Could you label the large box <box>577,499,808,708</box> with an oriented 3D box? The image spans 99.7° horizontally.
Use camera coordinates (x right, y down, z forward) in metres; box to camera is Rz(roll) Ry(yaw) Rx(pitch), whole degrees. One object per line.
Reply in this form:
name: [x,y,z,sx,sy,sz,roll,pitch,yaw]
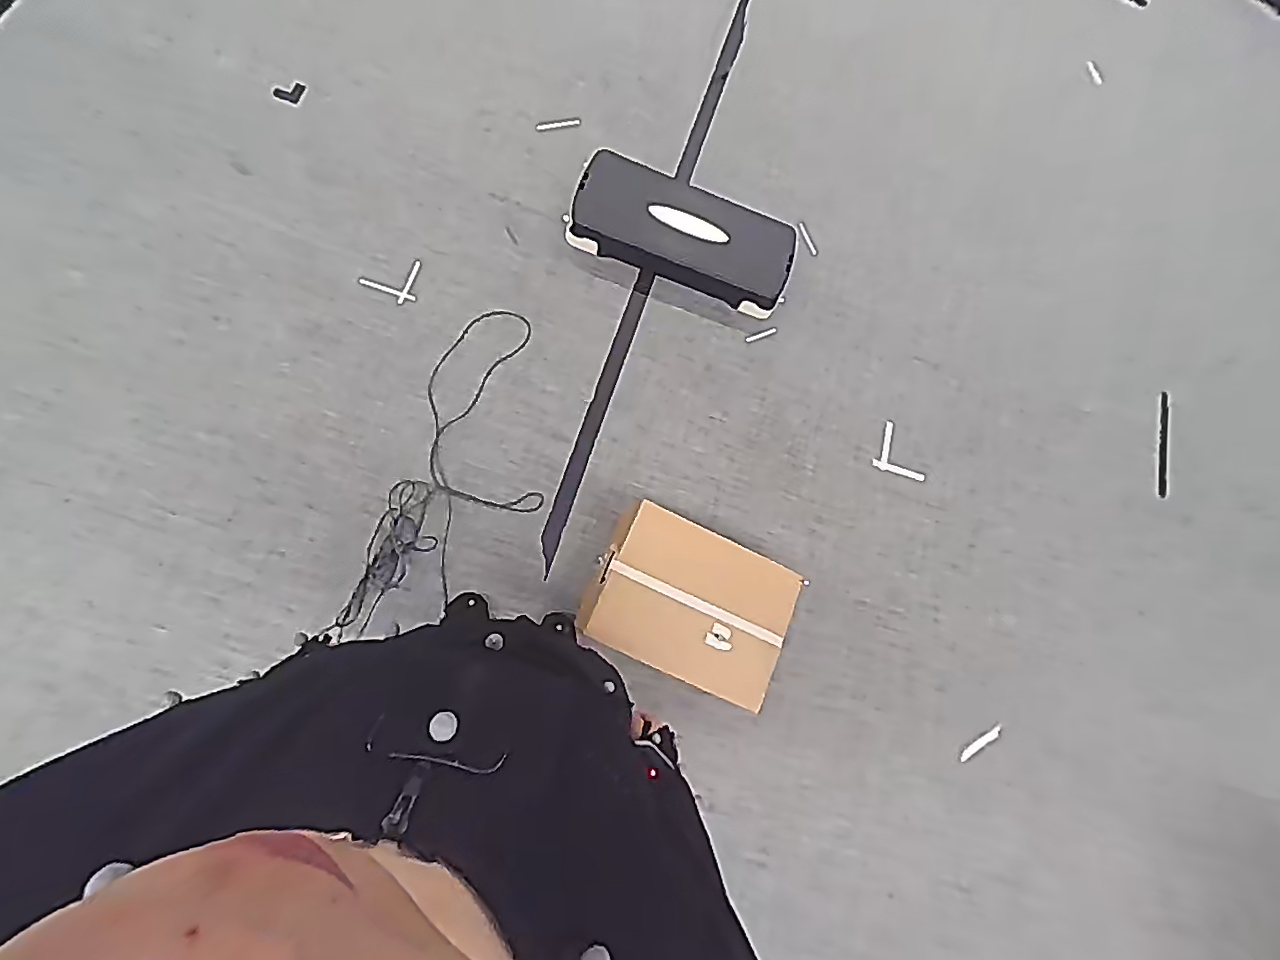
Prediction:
large box: [0.104,0.283,1.268,0.408,0.320,0.320,26,75,-5]
